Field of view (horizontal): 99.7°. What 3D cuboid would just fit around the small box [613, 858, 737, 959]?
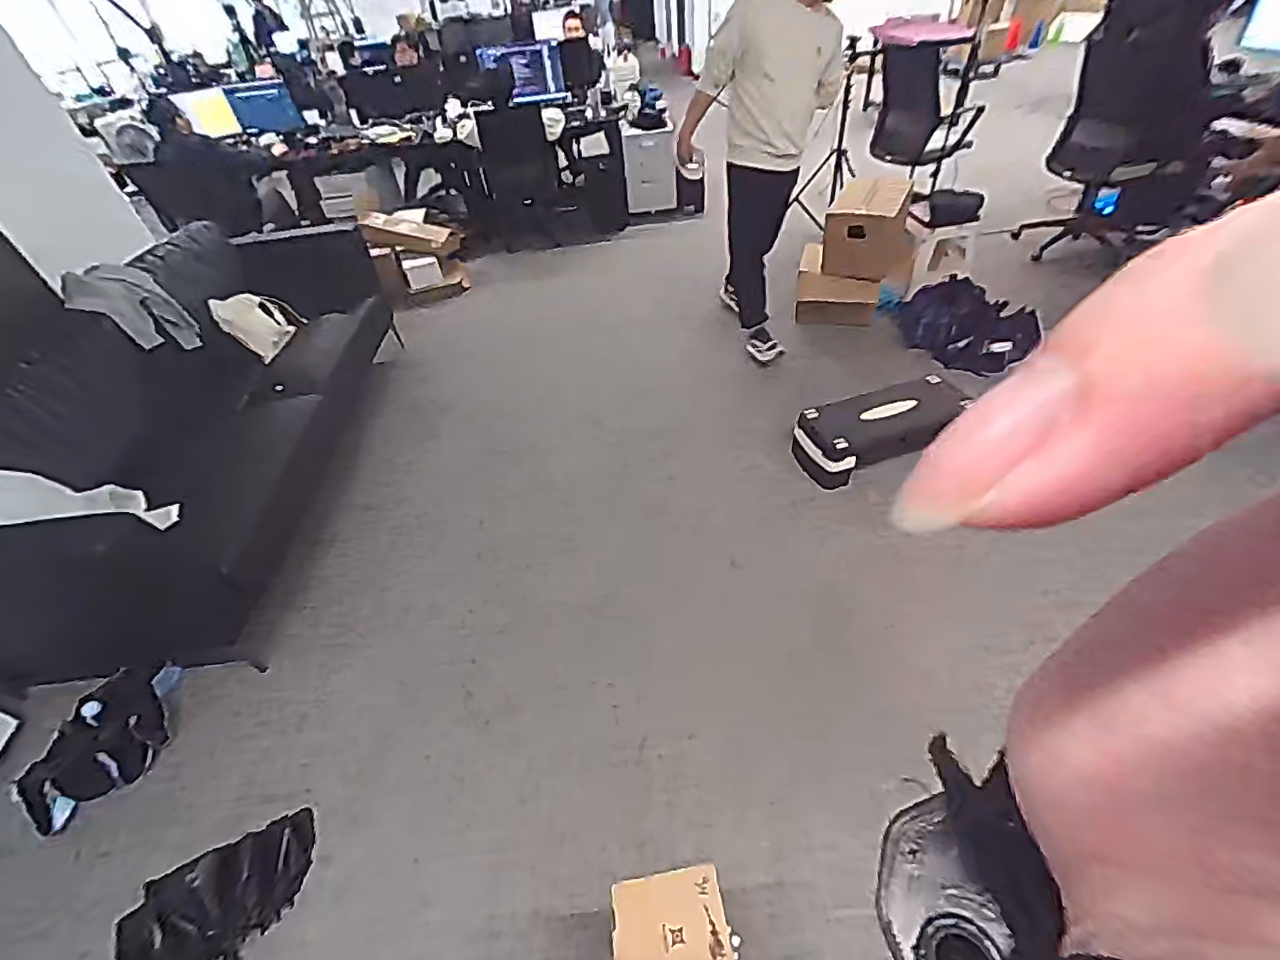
[{"bbox_3d":[0.062,0.753,0.885,0.179,0.176,0.168,-11,42,0],"label":"small box"}]
